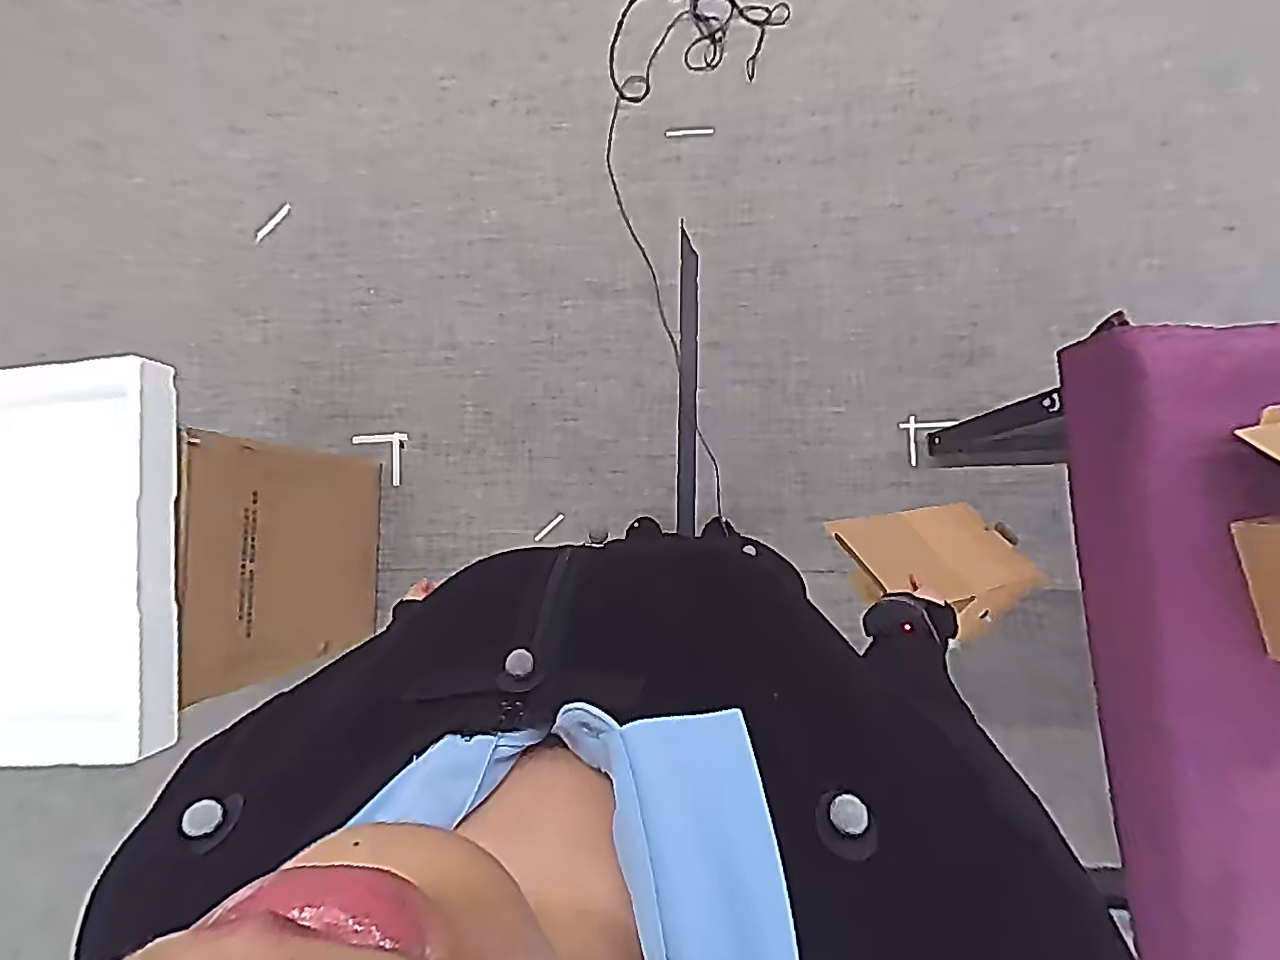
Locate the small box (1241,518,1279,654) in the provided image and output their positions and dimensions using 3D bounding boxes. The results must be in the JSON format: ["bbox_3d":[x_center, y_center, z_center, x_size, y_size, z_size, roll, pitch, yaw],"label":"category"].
[{"bbox_3d":[0.838,0.119,0.592,0.168,0.176,0.179,-11,85,6],"label":"small box"}]
